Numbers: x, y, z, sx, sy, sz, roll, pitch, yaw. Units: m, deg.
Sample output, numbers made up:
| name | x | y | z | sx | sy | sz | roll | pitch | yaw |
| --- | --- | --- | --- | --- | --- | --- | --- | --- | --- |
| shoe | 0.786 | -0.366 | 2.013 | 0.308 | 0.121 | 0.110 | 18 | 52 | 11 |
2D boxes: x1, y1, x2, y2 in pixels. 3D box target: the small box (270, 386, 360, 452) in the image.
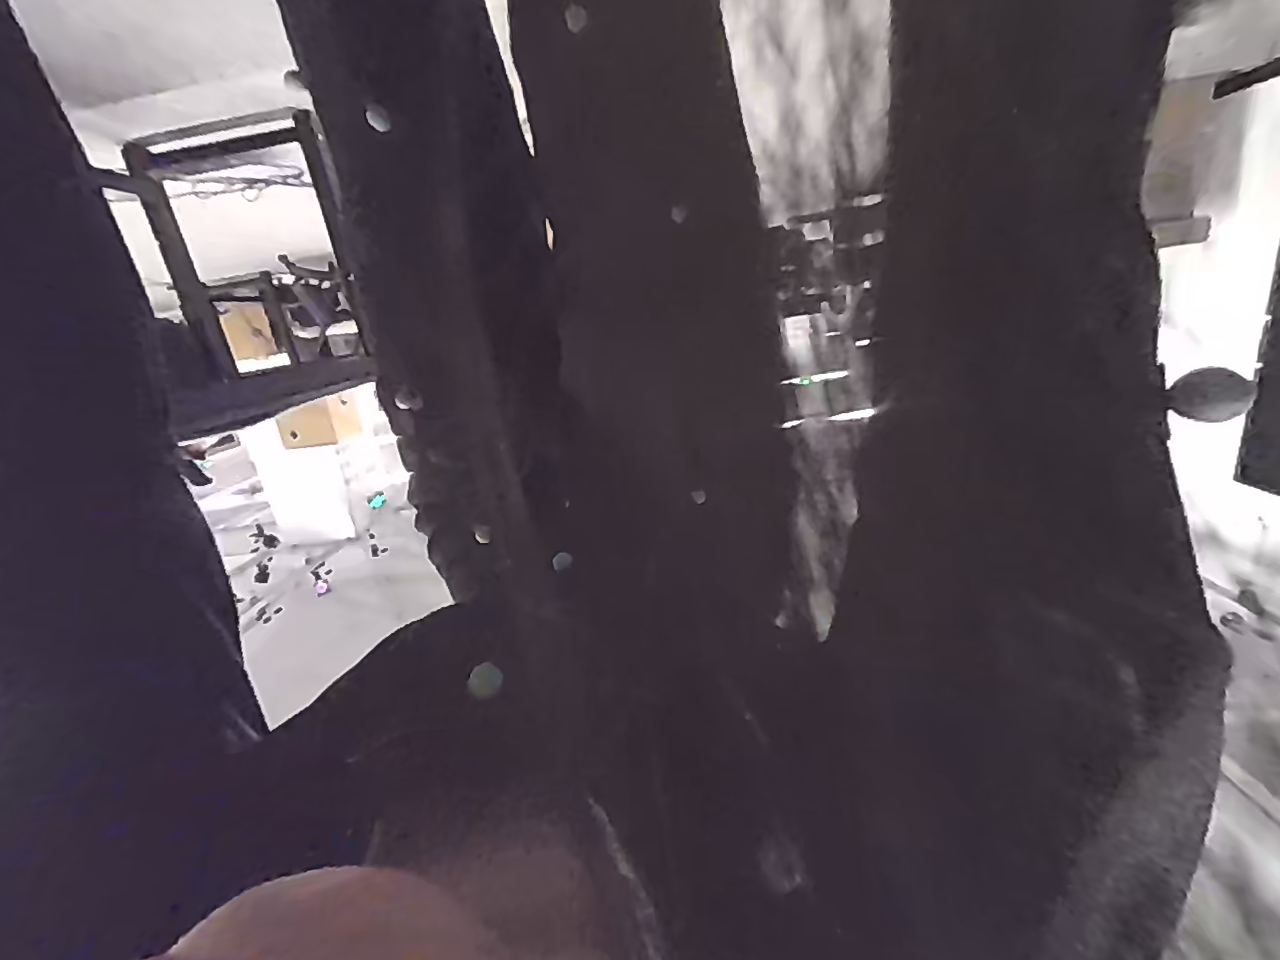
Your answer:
| name | x | y | z | sx | sy | sz | roll | pitch | yaw |
| --- | --- | --- | --- | --- | --- | --- | --- | --- | --- |
| small box | -1.017 | -0.196 | 1.691 | 0.179 | 0.176 | 0.168 | -7 | -163 | 1 |
